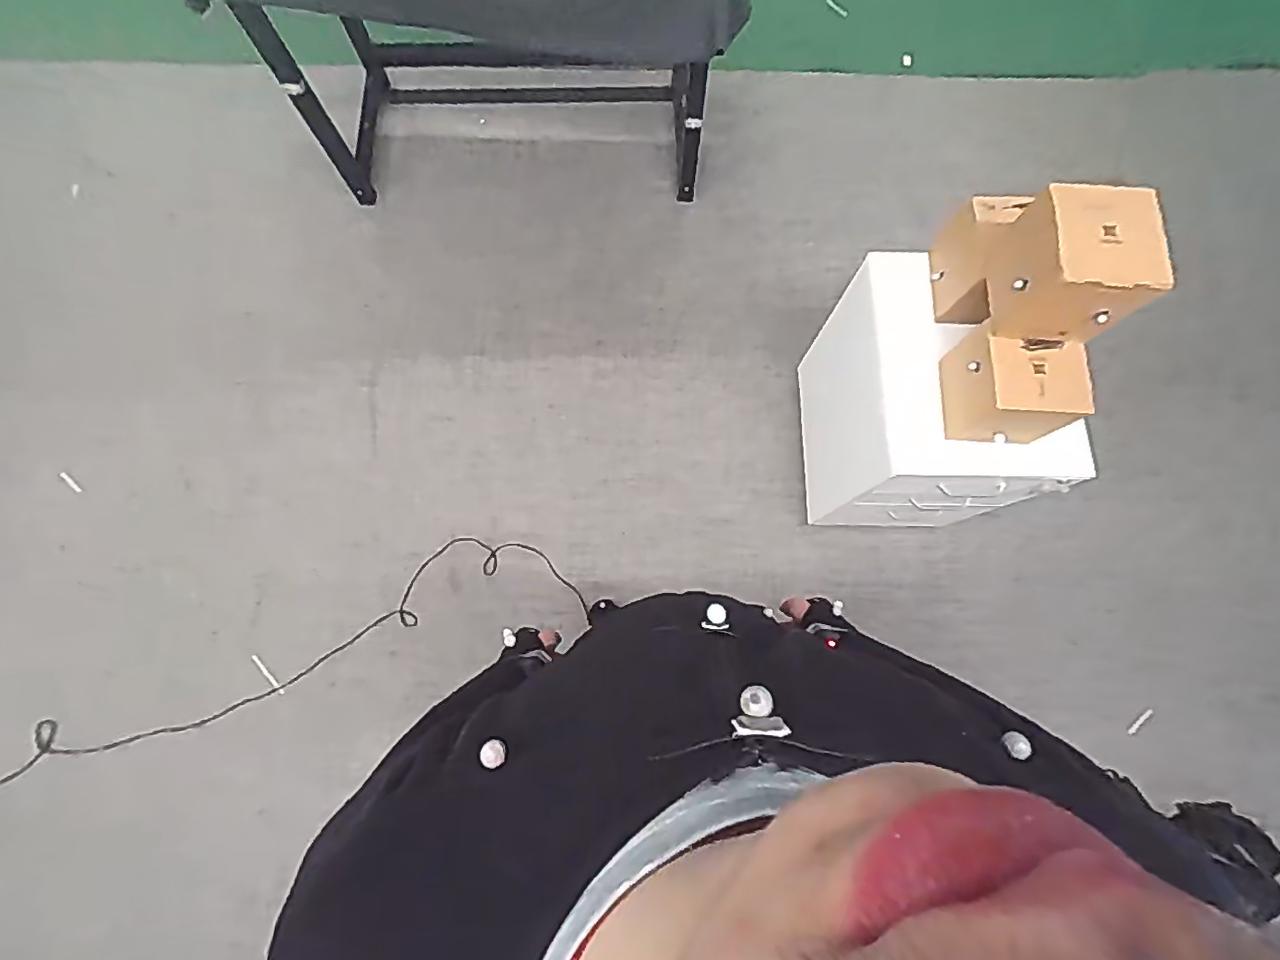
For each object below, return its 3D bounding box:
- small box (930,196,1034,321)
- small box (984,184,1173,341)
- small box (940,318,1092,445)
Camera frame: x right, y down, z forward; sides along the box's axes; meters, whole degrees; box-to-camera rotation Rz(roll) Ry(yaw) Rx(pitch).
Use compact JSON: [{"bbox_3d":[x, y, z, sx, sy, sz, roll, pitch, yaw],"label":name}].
[{"bbox_3d":[0.702,-0.429,1.073,0.168,0.176,0.179,2,78,0],"label":"small box"},{"bbox_3d":[0.700,-0.346,0.885,0.168,0.176,0.179,4,75,0],"label":"small box"},{"bbox_3d":[0.685,-0.177,1.009,0.168,0.176,0.179,4,76,1],"label":"small box"}]
